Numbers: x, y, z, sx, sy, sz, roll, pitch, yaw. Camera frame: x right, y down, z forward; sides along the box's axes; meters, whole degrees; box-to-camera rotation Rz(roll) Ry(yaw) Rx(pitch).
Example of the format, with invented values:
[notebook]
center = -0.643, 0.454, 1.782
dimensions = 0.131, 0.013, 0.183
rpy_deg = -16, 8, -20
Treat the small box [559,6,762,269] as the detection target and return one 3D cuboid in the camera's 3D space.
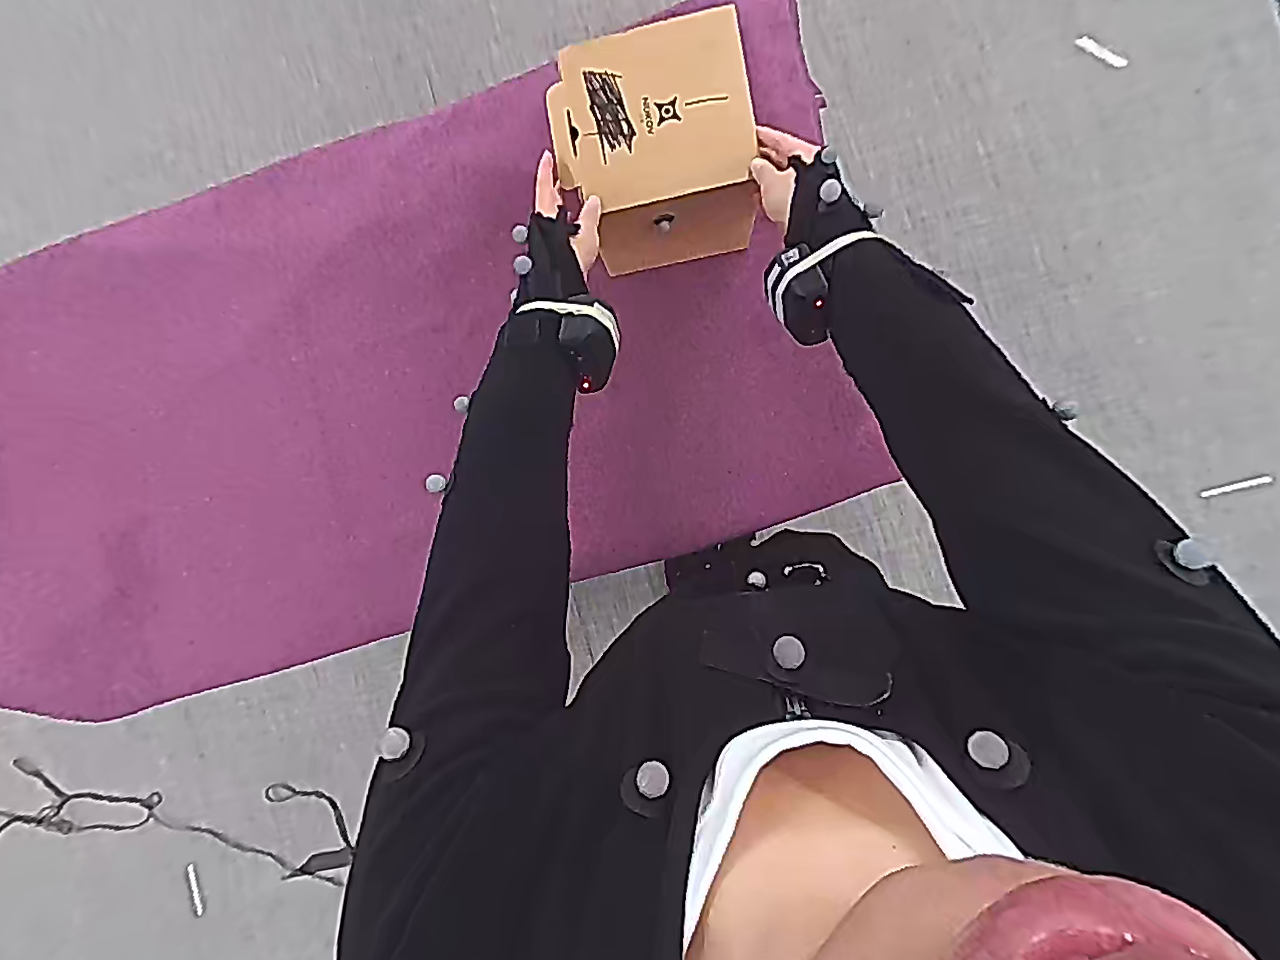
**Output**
[small box]
center = 0.026, -0.352, 0.594
dimensions = 0.179, 0.176, 0.168
rpy_deg = -10, 91, 5
